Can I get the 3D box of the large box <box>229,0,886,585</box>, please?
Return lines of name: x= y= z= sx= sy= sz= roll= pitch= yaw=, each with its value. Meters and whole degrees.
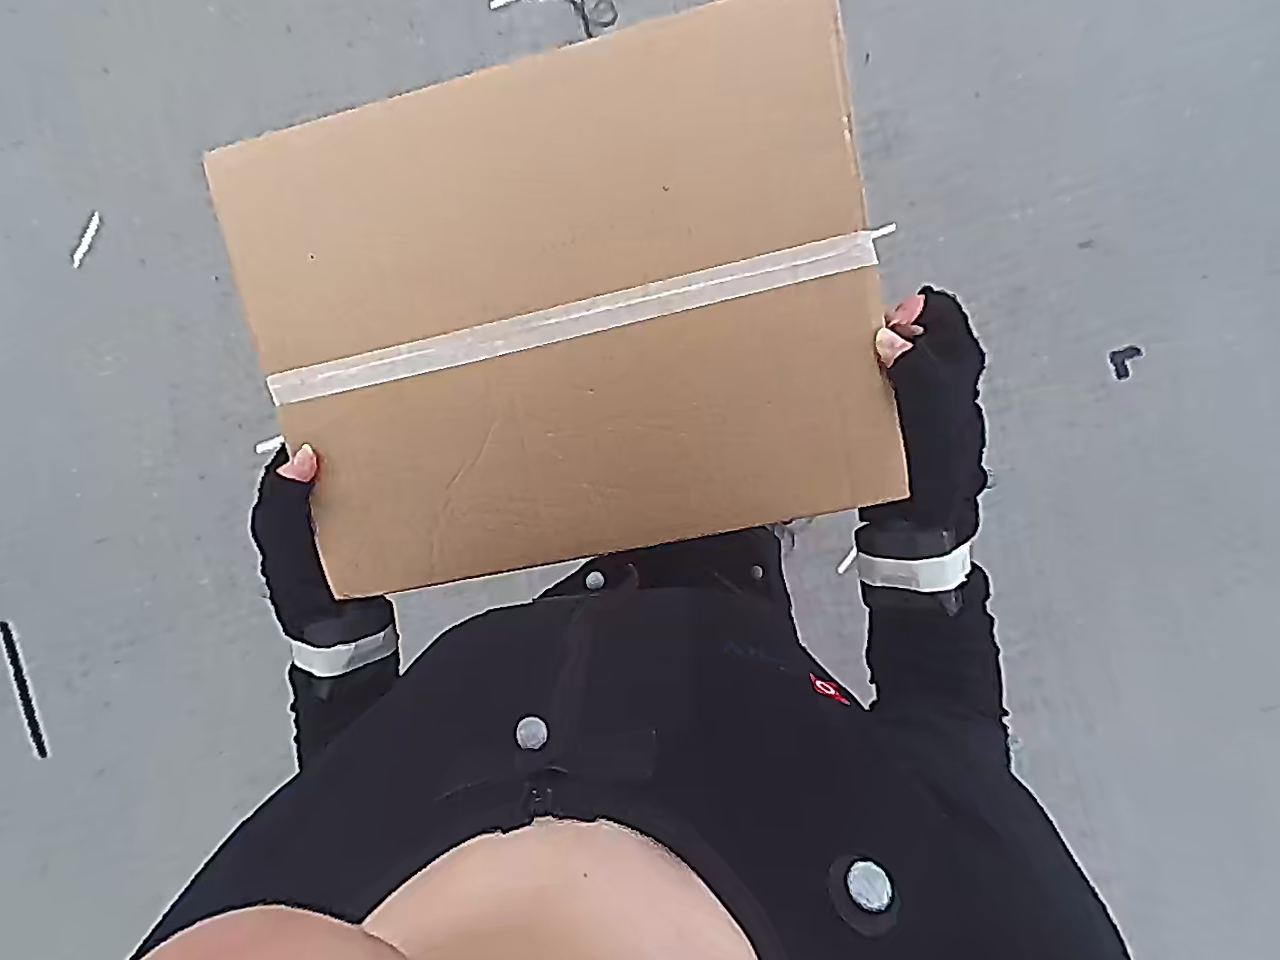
large box: x=-0.043 y=-0.131 z=0.510 sx=0.408 sy=0.320 sz=0.320 roll=-11 pitch=97 yaw=7
